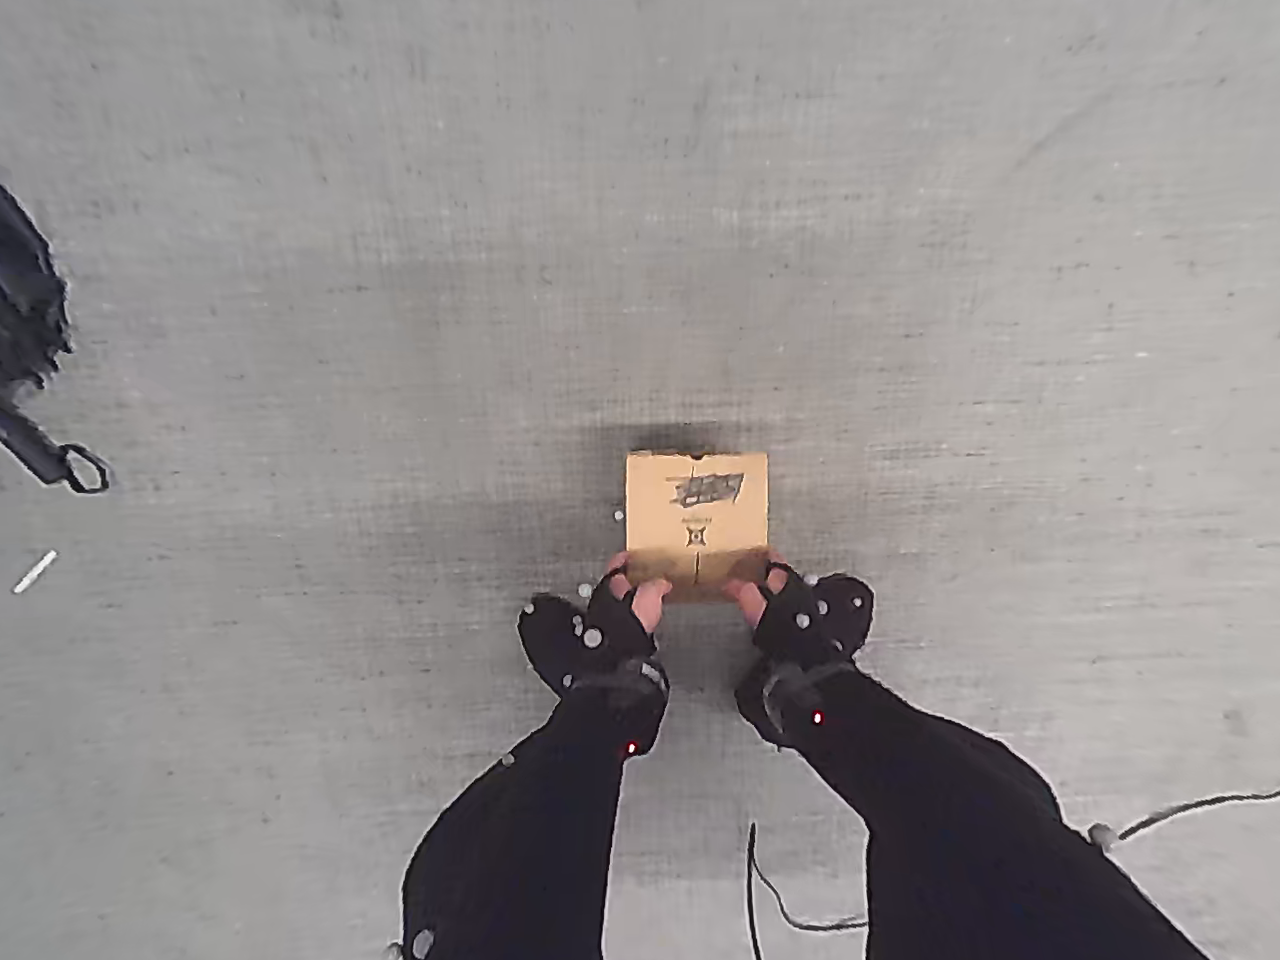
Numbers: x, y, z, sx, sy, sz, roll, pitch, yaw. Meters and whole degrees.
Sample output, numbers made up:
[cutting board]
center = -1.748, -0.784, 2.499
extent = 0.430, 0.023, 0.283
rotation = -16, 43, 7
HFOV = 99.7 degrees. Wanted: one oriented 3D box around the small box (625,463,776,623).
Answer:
[small box]
center = 0.064, 0.068, 0.672
extent = 0.168, 0.176, 0.179
rotation = 0, 92, -1
